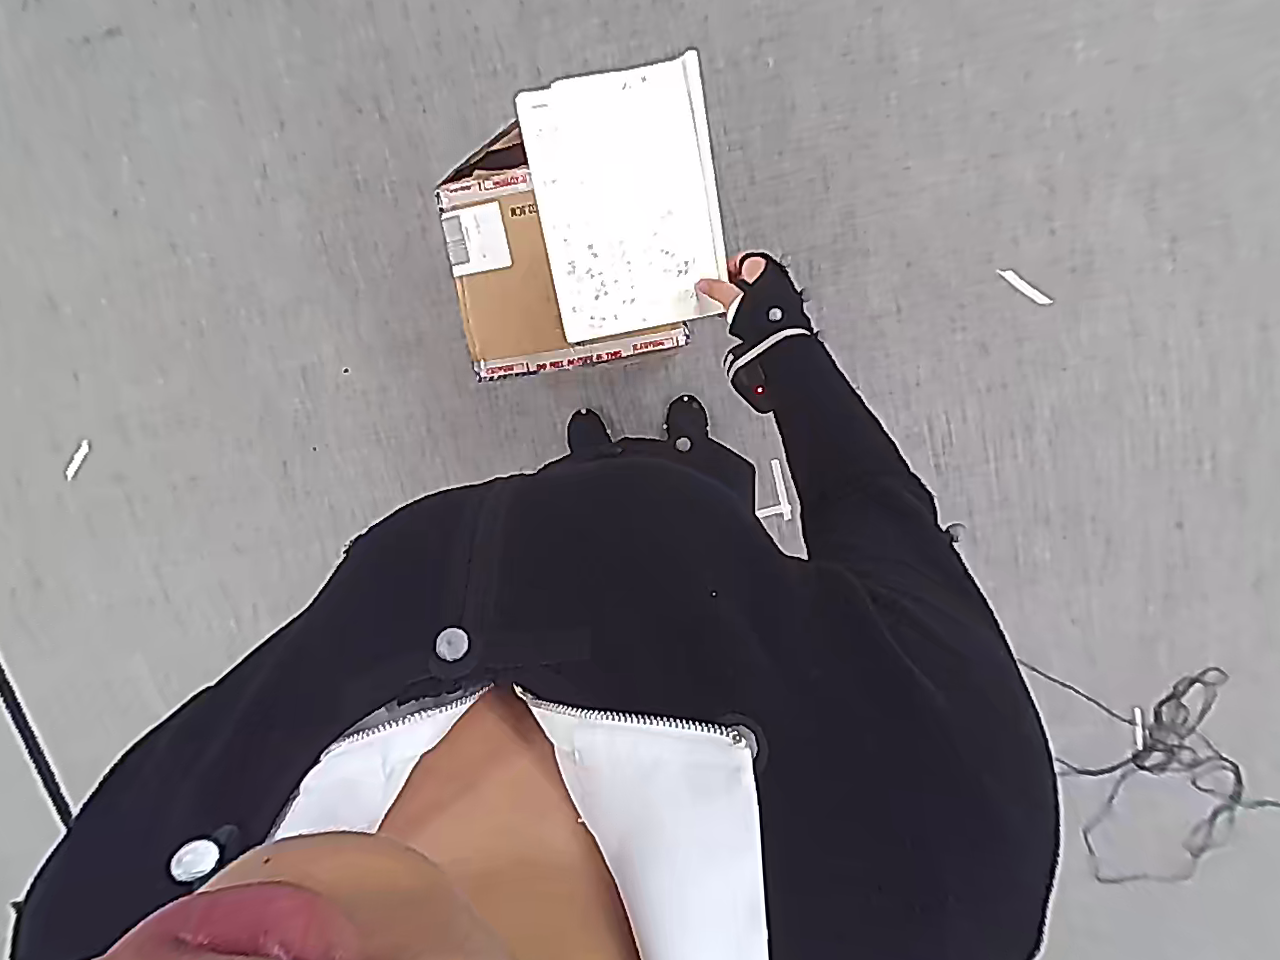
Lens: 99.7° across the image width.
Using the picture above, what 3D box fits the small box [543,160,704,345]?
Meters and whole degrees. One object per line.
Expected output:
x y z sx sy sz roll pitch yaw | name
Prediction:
-0.021 -0.280 0.704 0.168 0.176 0.179 -11 102 1 | small box
